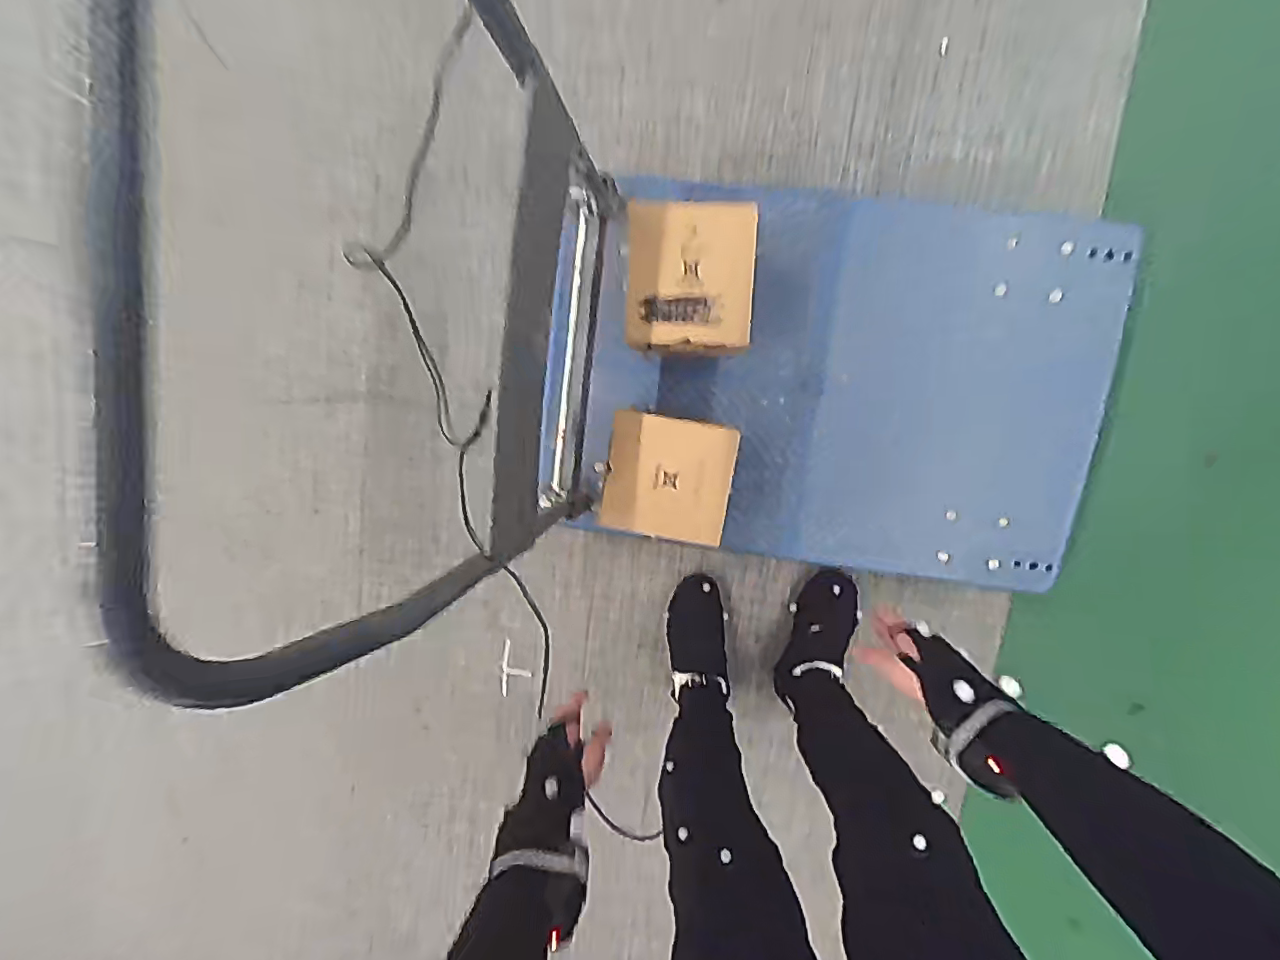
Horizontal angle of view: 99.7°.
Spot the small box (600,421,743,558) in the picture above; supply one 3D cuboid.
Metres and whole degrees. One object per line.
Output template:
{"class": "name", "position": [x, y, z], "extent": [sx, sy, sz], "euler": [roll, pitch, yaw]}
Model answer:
{"class": "small box", "position": [0.048, 0.005, 0.826], "extent": [0.179, 0.176, 0.168], "euler": [10, 98, 3]}
